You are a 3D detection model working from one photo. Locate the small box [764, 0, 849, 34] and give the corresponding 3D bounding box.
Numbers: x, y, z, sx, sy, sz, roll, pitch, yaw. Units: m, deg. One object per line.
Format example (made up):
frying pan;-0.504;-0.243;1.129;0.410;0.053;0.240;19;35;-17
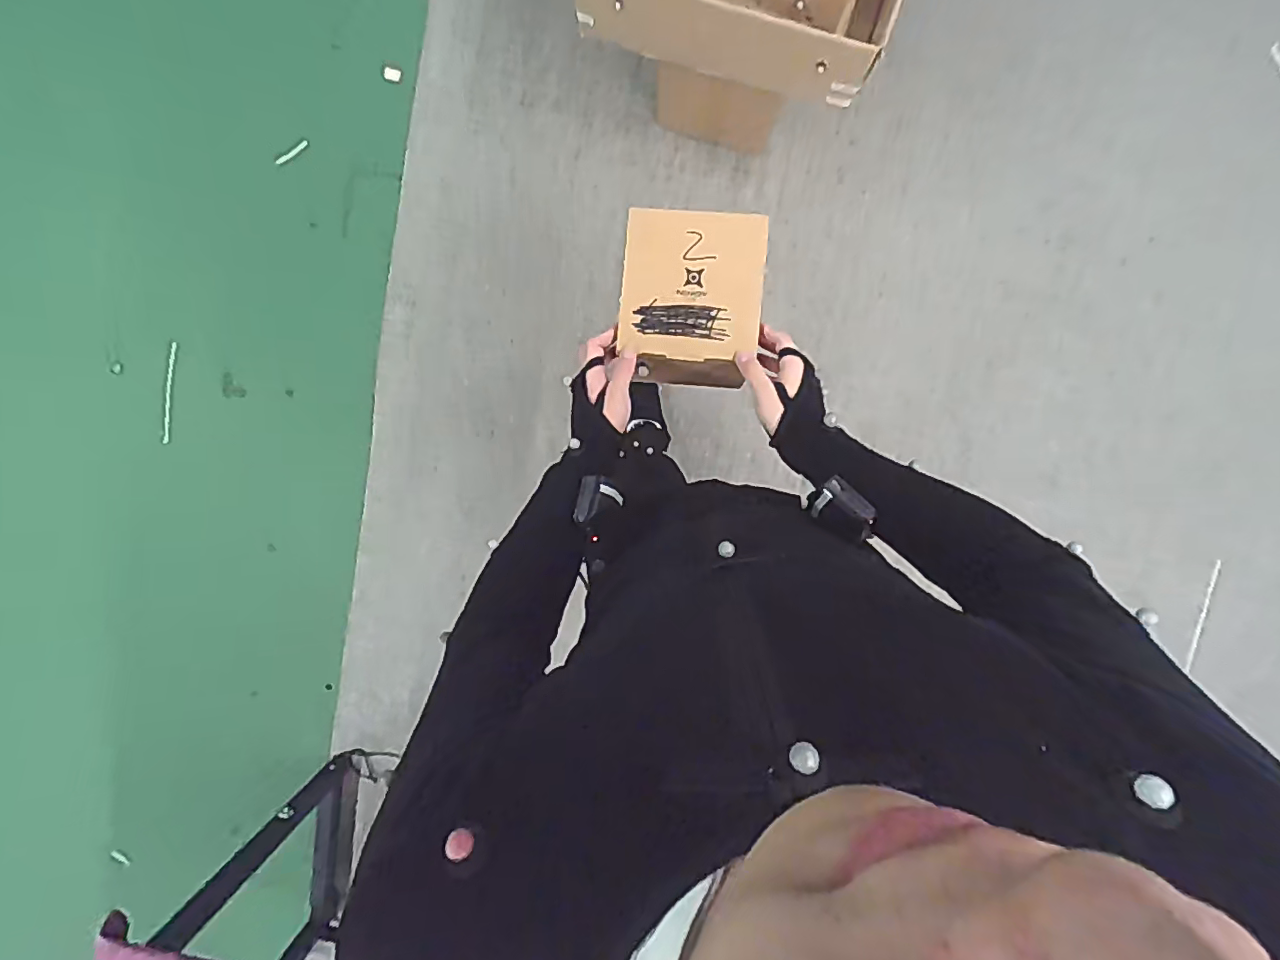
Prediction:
small box;0.341;-0.991;0.994;0.168;0.176;0.179;22;97;1
